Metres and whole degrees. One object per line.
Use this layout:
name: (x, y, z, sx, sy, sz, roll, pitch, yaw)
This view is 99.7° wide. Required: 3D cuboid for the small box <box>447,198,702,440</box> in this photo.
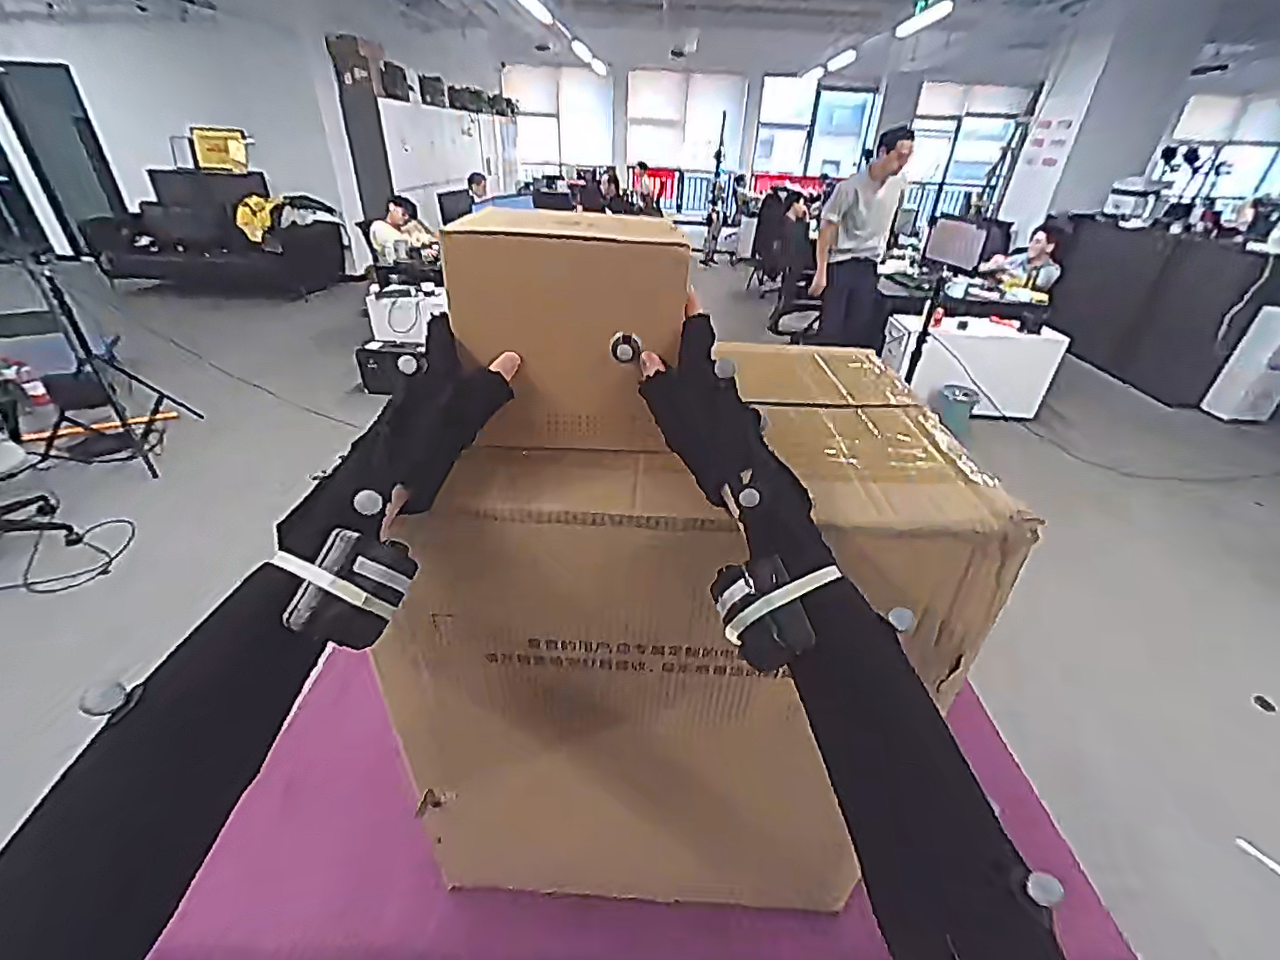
small box: (-0.050, -0.143, 0.475, 0.179, 0.176, 0.168, 1, 30, -3)
